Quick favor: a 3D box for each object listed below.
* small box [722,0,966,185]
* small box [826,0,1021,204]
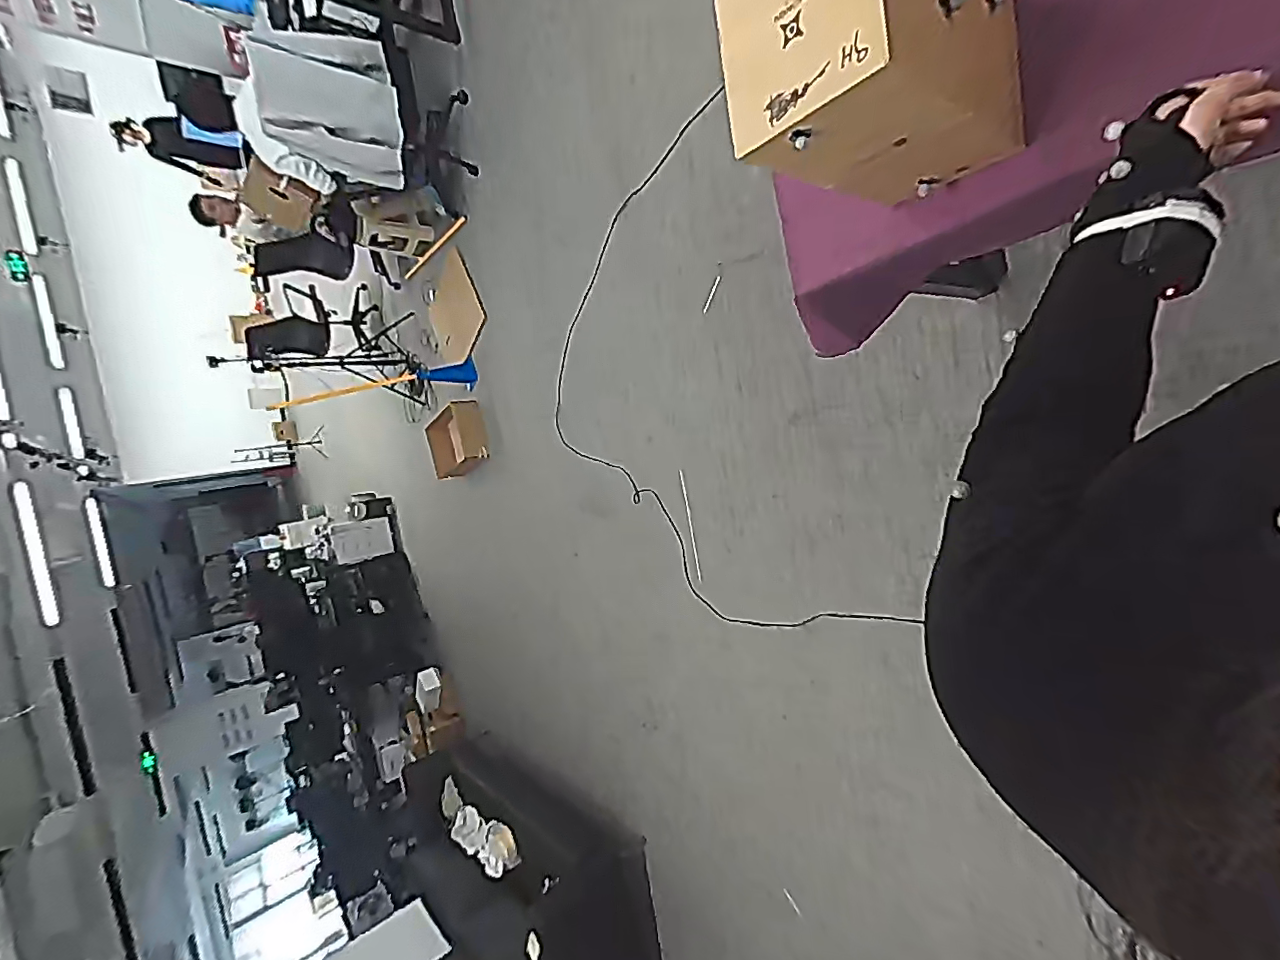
[{"bbox_3d":[0.207,-0.435,0.550,0.168,0.176,0.179,-2,97,53],"label":"small box"},{"bbox_3d":[0.334,-0.462,0.652,0.168,0.176,0.179,-2,99,52],"label":"small box"}]
